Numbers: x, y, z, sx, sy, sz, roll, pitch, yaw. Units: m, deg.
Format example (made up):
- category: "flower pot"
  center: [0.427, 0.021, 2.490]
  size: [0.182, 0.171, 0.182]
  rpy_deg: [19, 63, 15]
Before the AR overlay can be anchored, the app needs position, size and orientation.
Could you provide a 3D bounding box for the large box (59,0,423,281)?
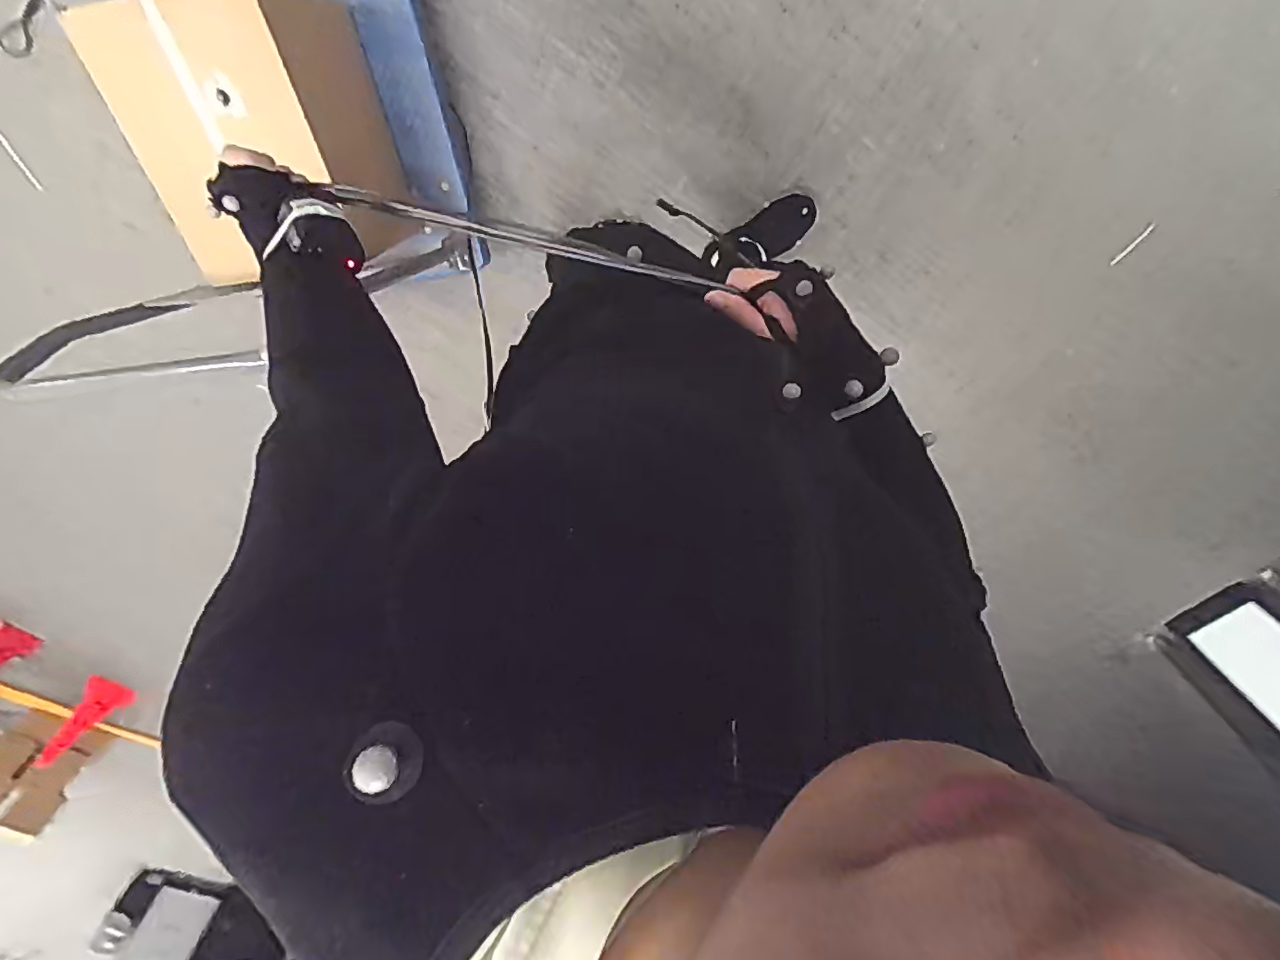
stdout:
- category: "large box"
  center: [-0.671, -0.631, 1.009]
  size: [0.320, 0.320, 0.408]
  rpy_deg: [-6, 123, 6]
